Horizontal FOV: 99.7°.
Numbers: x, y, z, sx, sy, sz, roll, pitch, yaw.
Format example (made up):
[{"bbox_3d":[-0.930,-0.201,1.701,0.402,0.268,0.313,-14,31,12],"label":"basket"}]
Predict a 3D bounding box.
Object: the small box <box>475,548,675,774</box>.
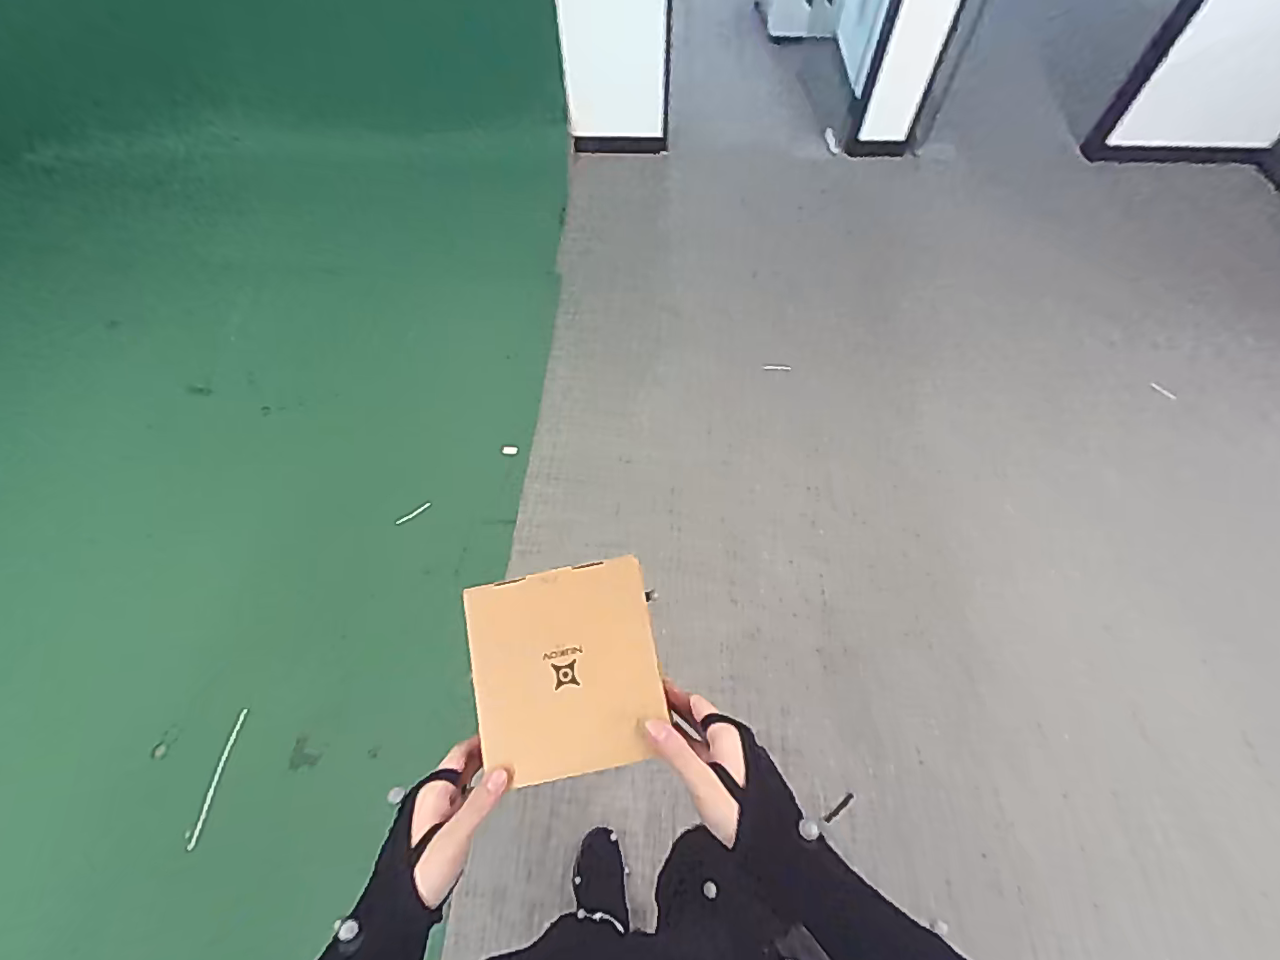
[{"bbox_3d":[-0.057,0.179,0.568,0.168,0.176,0.179,-11,75,0],"label":"small box"}]
